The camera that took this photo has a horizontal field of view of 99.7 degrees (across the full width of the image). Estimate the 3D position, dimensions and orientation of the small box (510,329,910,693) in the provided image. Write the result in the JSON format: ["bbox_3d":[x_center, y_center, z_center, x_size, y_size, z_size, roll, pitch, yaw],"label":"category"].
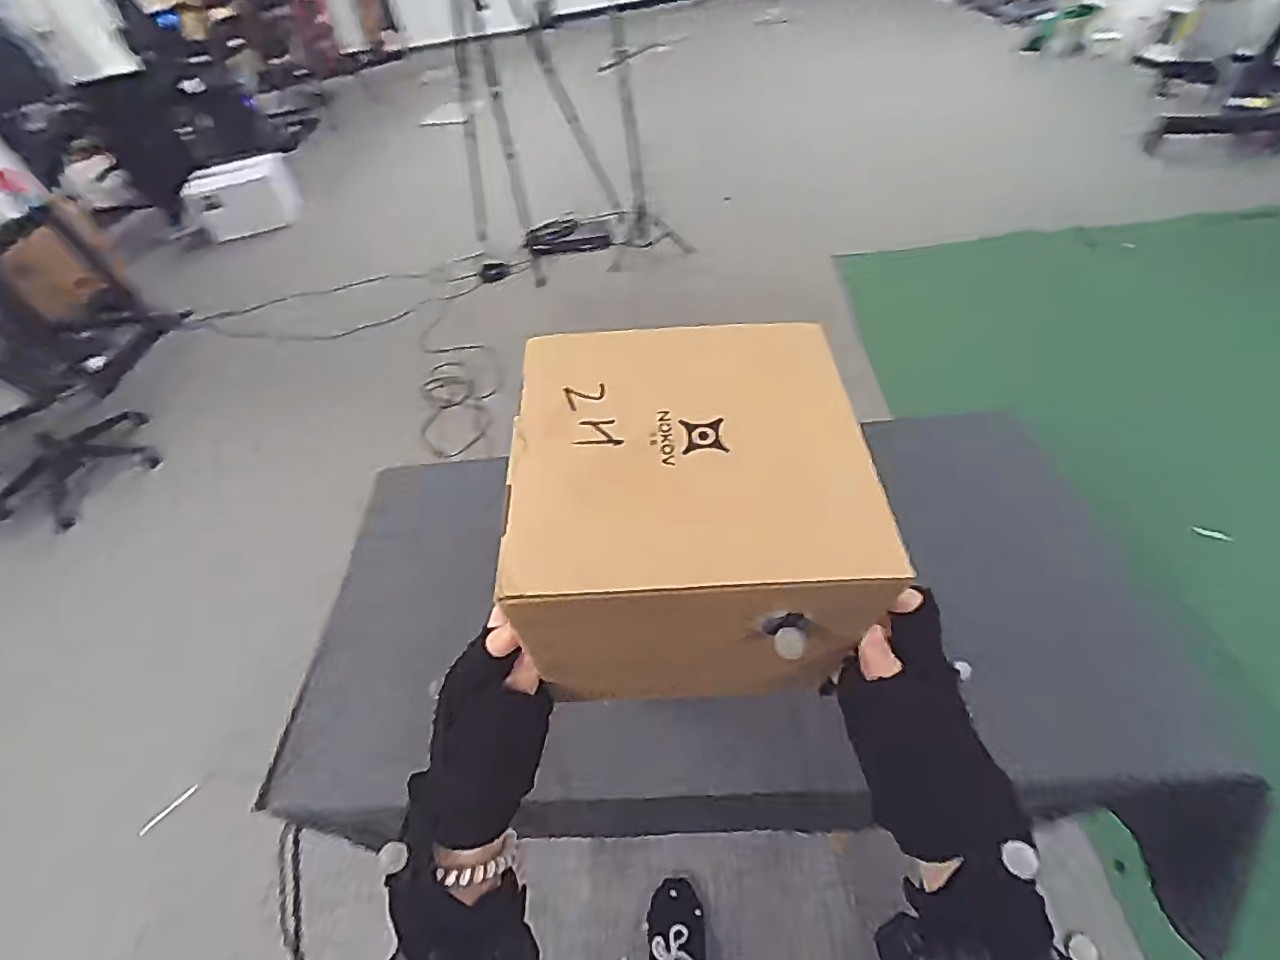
[{"bbox_3d":[0.031,0.028,0.341,0.179,0.176,0.168,-3,54,1],"label":"small box"}]
